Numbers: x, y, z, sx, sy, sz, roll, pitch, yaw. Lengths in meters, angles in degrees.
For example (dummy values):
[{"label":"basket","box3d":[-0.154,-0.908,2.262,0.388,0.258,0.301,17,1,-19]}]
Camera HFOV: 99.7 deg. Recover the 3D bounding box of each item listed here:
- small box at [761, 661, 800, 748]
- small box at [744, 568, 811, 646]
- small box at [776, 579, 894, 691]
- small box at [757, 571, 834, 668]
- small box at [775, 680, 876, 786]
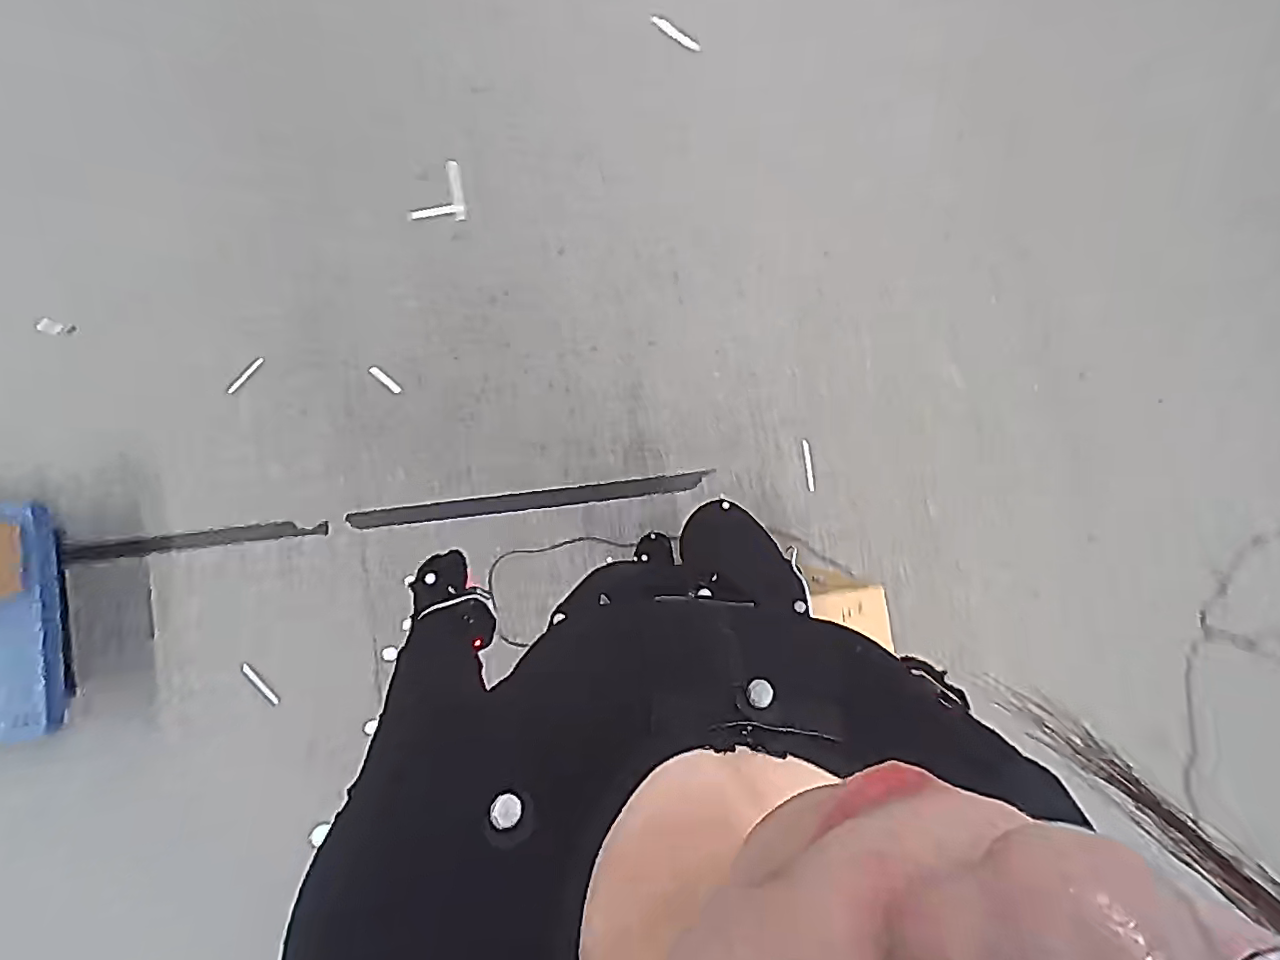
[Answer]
[{"label":"small box","box3d":[0.420,0.575,1.409,0.168,0.176,0.179,-5,88,-1]},{"label":"small box","box3d":[0.383,0.327,1.421,0.179,0.176,0.168,-7,86,0]},{"label":"small box","box3d":[0.385,0.305,1.093,0.168,0.176,0.179,-7,85,-1]},{"label":"small box","box3d":[0.380,0.317,1.258,0.168,0.176,0.179,-8,87,-1]},{"label":"small box","box3d":[0.418,0.568,1.245,0.168,0.176,0.179,-6,88,-1]}]
